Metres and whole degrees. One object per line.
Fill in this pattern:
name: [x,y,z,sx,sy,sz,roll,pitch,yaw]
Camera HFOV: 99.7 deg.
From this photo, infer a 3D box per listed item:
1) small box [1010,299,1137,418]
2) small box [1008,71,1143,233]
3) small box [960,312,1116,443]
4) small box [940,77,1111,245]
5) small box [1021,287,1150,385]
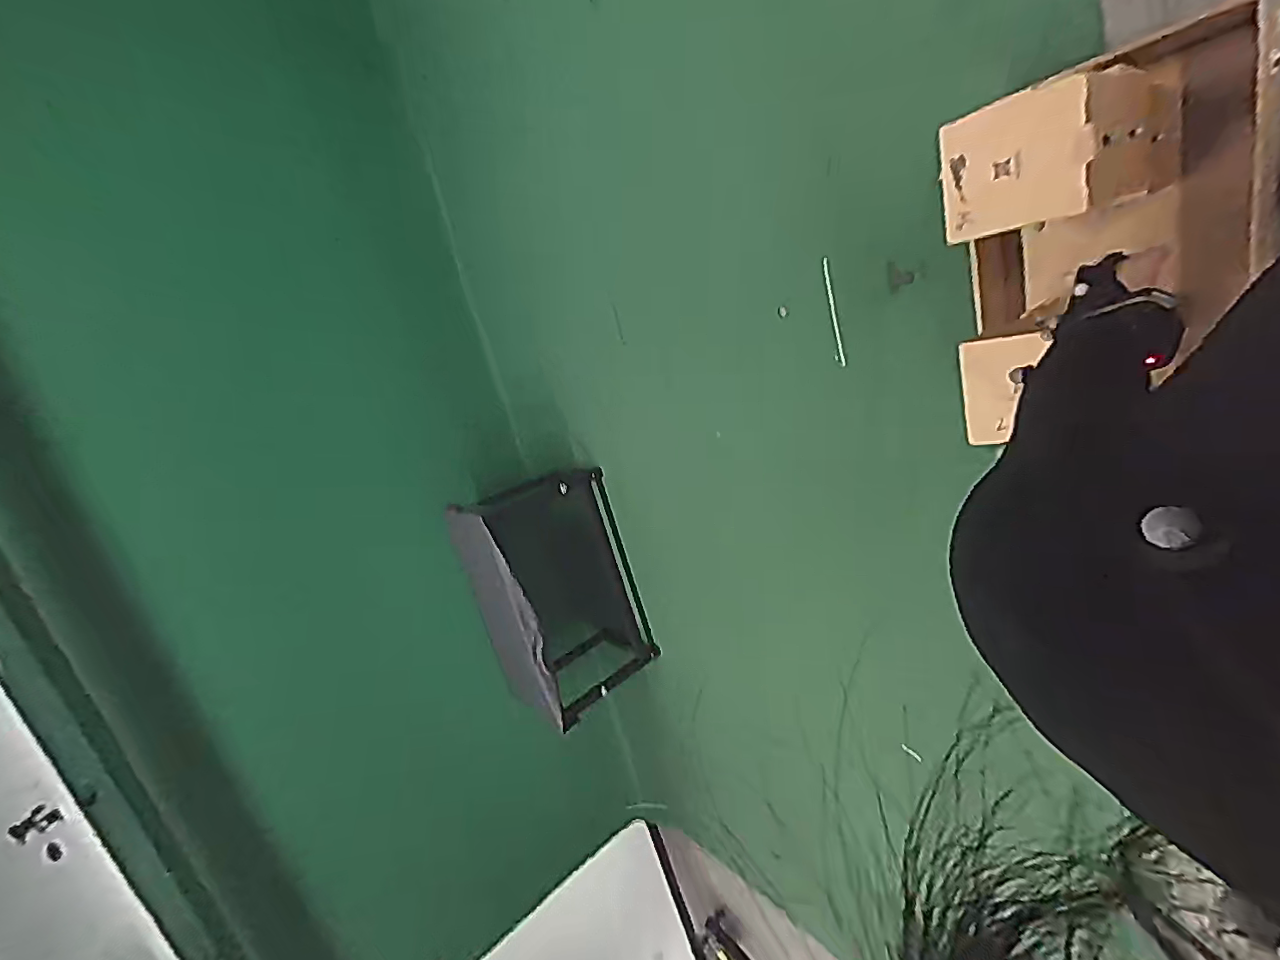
small box: [0.778,-0.215,0.983,0.168,0.176,0.179,4,112,52]
small box: [0.701,-0.531,0.889,0.168,0.176,0.179,1,112,51]
small box: [0.652,-0.168,0.886,0.168,0.176,0.179,4,113,53]
small box: [0.575,-0.466,0.804,0.179,0.176,0.168,6,117,49]
small box: [0.894,-0.277,1.082,0.179,0.176,0.168,3,112,52]
